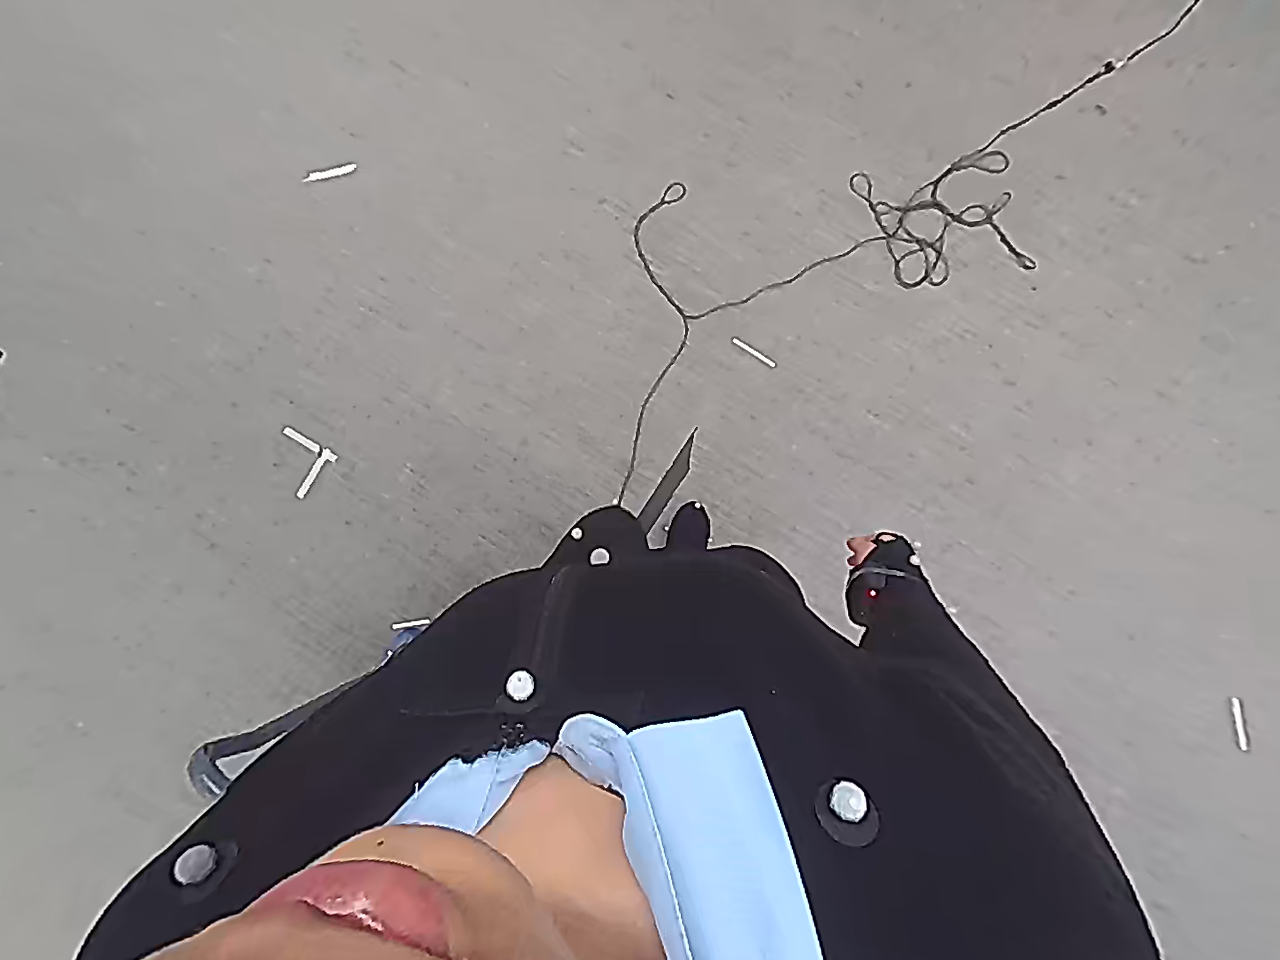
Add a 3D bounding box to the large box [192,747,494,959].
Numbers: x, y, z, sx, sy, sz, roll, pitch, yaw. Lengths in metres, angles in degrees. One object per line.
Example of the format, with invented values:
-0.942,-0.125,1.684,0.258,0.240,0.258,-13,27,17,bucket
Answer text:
-0.599,0.872,1.166,0.408,0.320,0.320,34,89,2,large box
